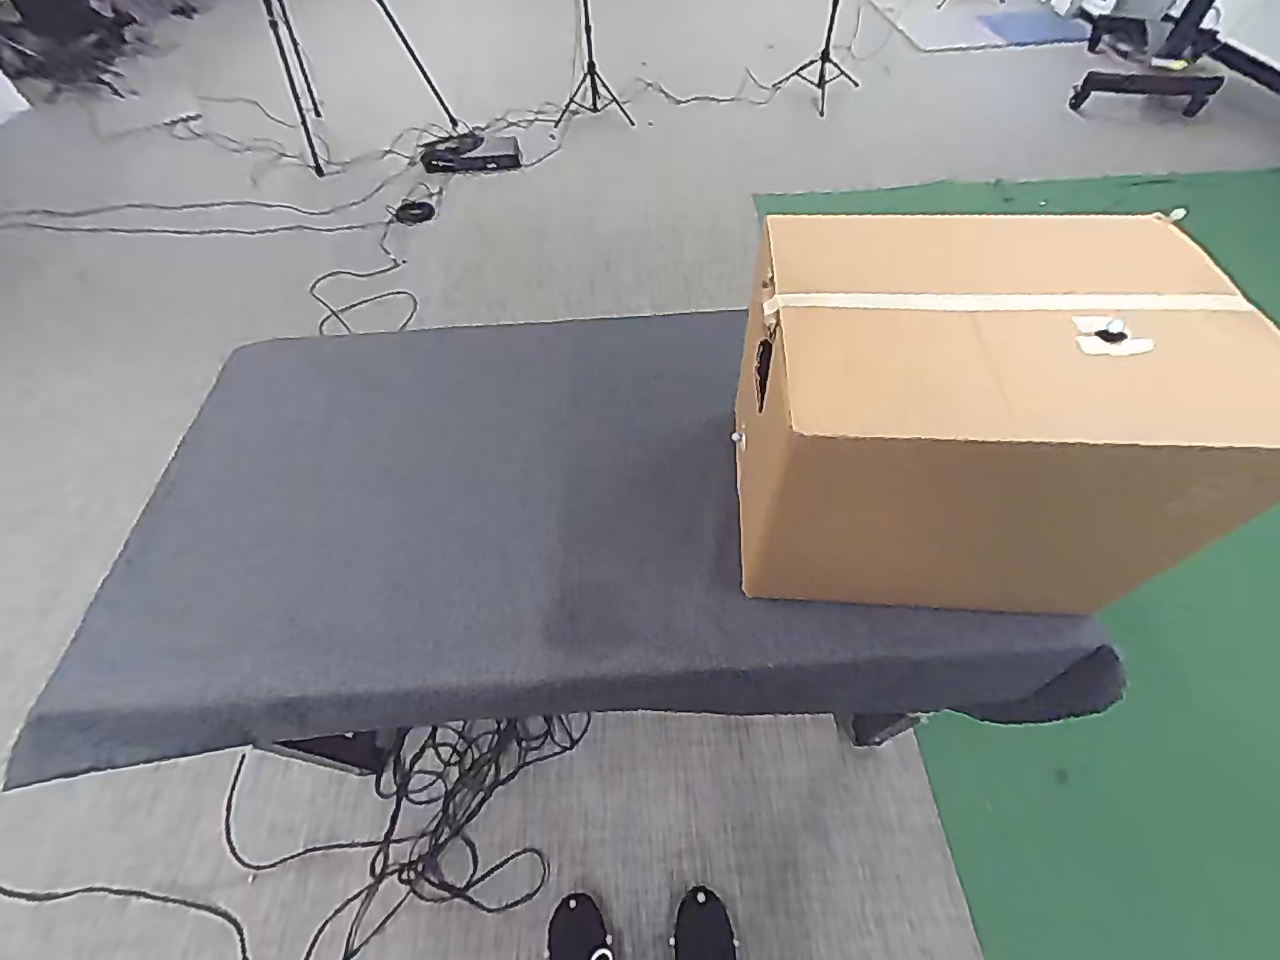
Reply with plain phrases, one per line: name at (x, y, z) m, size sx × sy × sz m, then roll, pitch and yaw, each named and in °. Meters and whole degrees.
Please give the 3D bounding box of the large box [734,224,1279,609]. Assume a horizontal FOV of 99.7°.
large box at (0.331, -0.062, 0.610) m, size 0.408 × 0.320 × 0.320 m, roll 2°, pitch 55°, yaw 3°
